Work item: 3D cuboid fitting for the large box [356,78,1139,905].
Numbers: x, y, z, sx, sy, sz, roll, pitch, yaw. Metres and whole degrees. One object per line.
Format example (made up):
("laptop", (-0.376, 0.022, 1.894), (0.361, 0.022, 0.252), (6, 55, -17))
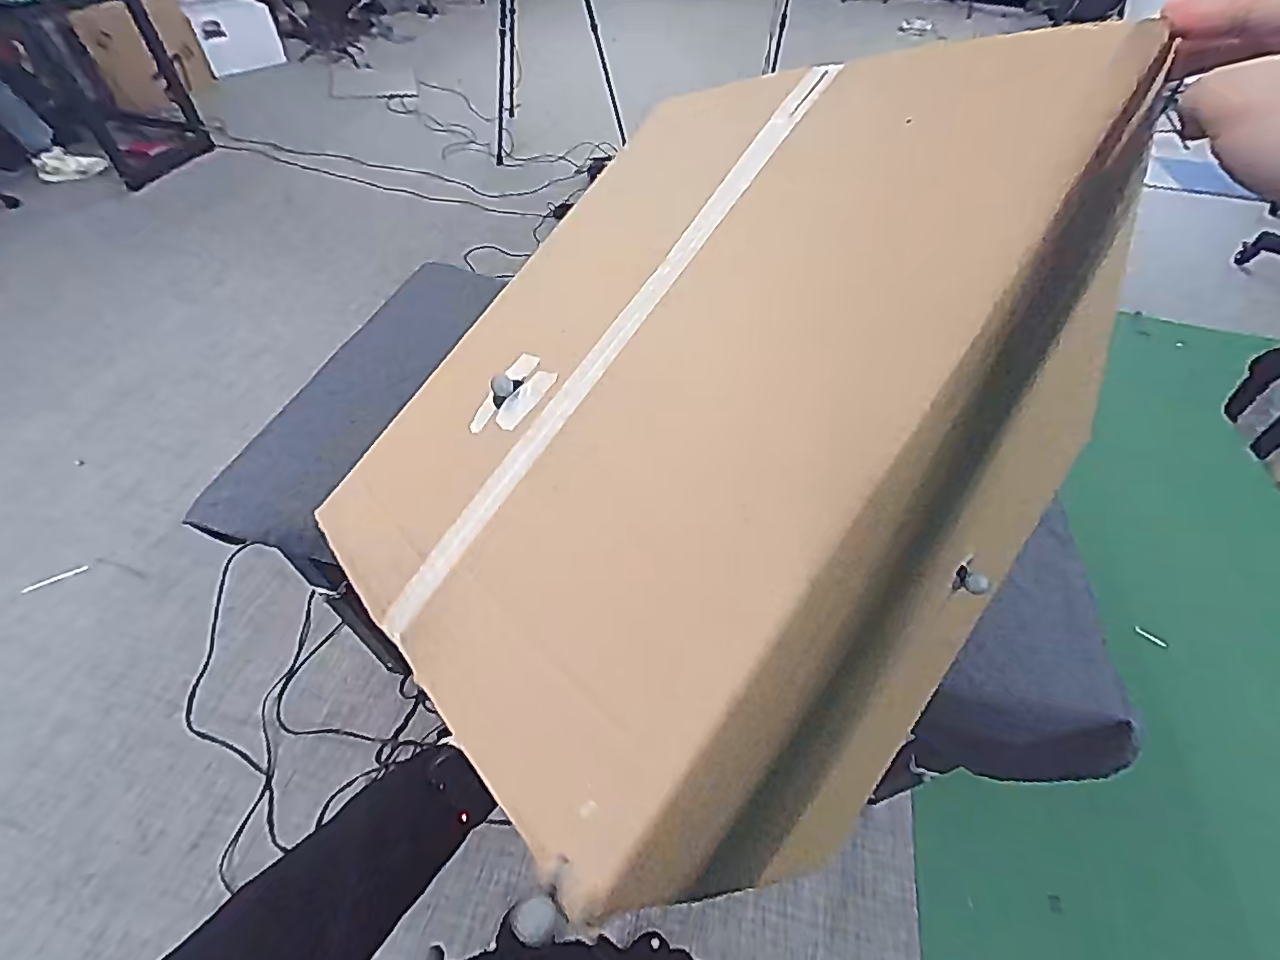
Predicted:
("large box", (0.084, -0.003, 0.419), (0.320, 0.320, 0.408), (27, 79, 41))
